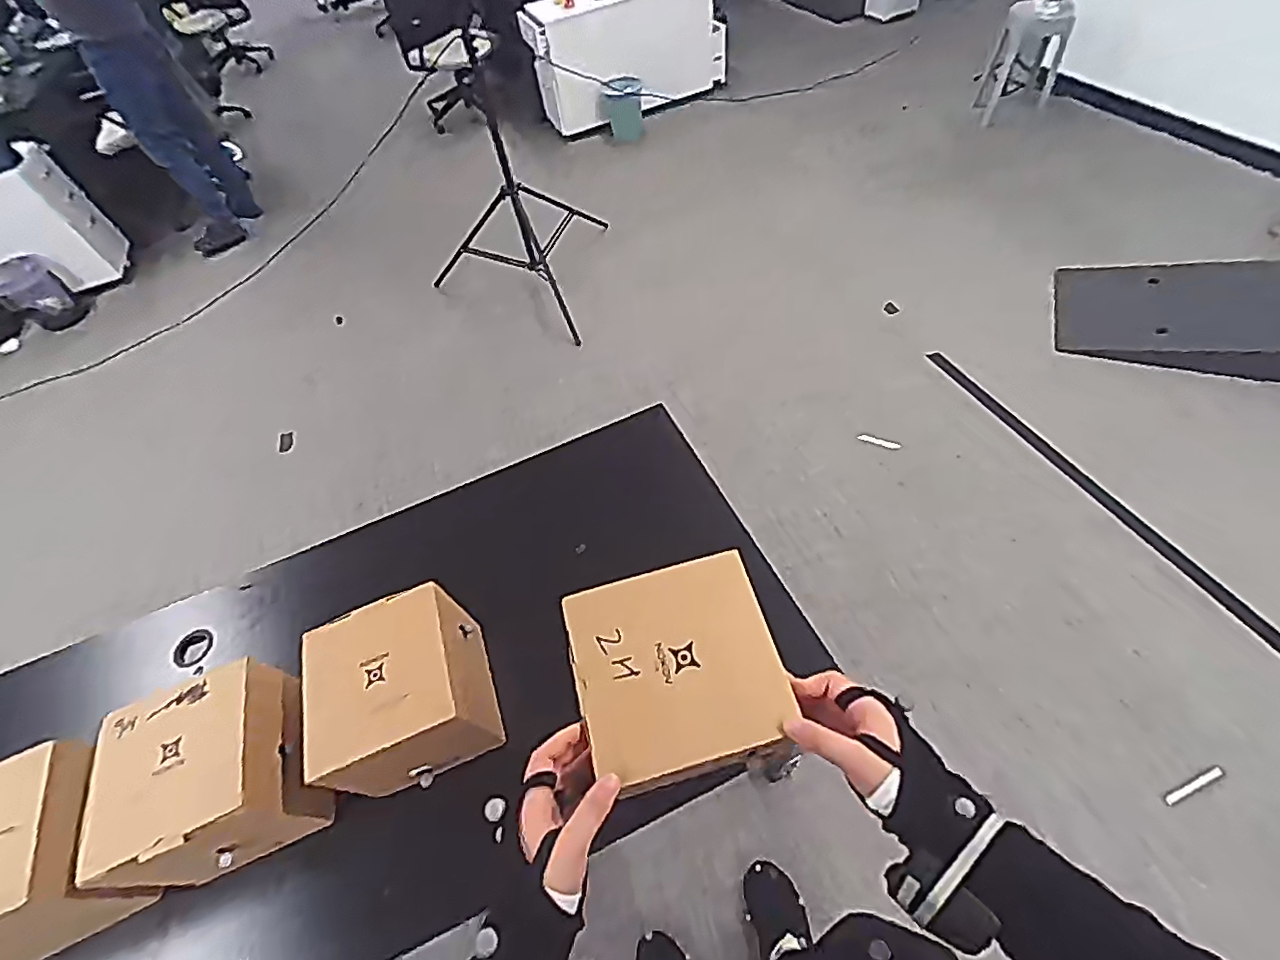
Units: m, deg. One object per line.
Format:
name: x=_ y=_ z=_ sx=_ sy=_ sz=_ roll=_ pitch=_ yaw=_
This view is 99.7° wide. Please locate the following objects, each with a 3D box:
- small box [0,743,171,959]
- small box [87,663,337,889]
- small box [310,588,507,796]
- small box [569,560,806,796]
small box: x=-0.691 y=0.440 z=0.624 sx=0.179 sy=0.176 sz=0.168 roll=-24 pitch=55 yaw=-11
small box: x=-0.496 y=0.357 z=0.657 sx=0.168 sy=0.176 sz=0.179 roll=-23 pitch=55 yaw=-8
small box: x=-0.289 y=0.273 z=0.689 sx=0.168 sy=0.176 sz=0.179 roll=-23 pitch=55 yaw=-7
small box: x=0.040 y=0.203 z=0.543 sx=0.179 sy=0.176 sz=0.168 roll=-15 pitch=58 yaw=-3
